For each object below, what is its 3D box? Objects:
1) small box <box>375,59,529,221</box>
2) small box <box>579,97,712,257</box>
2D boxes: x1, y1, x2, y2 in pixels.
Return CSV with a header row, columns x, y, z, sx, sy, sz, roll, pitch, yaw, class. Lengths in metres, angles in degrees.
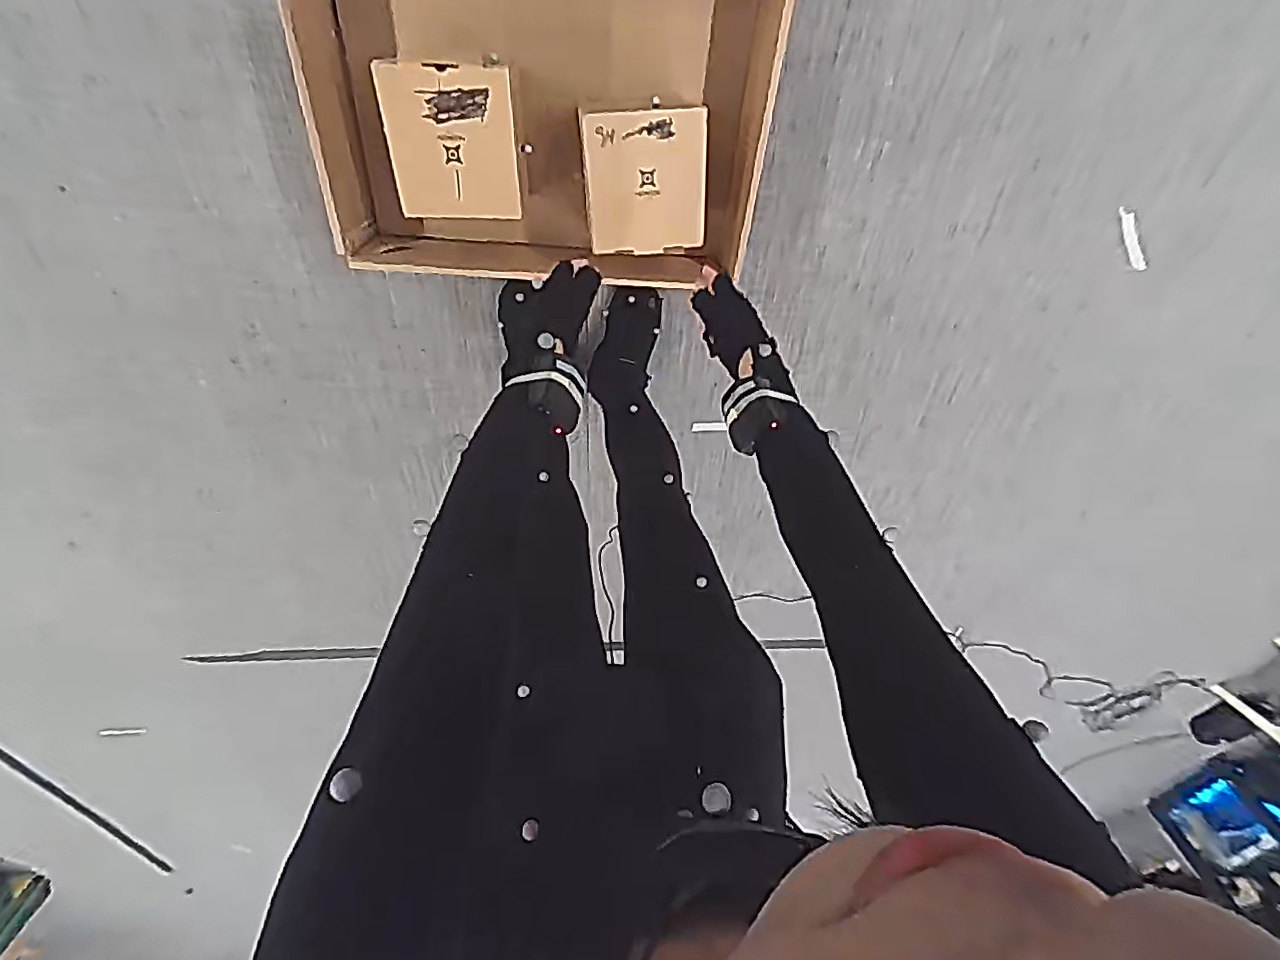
x,y,z,sx,sy,sz,roll,pitch,yaw,class
-0.251,-0.483,0.768,0.168,0.176,0.179,-1,128,-6,small box
0.002,-0.453,0.806,0.168,0.176,0.179,-8,130,-6,small box
